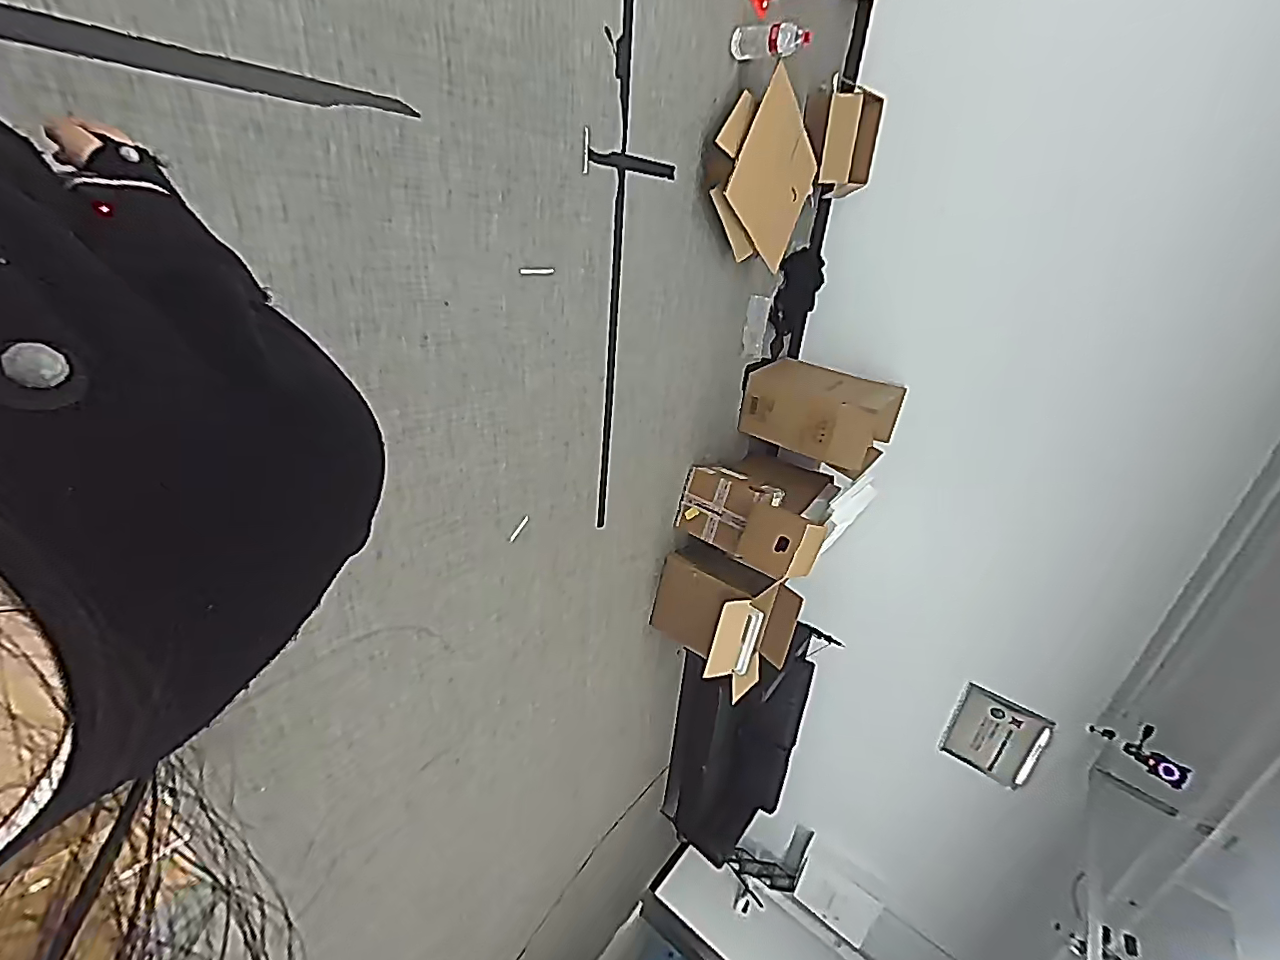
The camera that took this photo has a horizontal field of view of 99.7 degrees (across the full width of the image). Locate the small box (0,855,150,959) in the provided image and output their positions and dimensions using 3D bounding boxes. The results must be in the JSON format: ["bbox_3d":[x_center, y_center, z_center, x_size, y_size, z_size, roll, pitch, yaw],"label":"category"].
[{"bbox_3d":[-1.121,0.896,1.061,0.179,0.176,0.168,-26,128,-46],"label":"small box"}]
